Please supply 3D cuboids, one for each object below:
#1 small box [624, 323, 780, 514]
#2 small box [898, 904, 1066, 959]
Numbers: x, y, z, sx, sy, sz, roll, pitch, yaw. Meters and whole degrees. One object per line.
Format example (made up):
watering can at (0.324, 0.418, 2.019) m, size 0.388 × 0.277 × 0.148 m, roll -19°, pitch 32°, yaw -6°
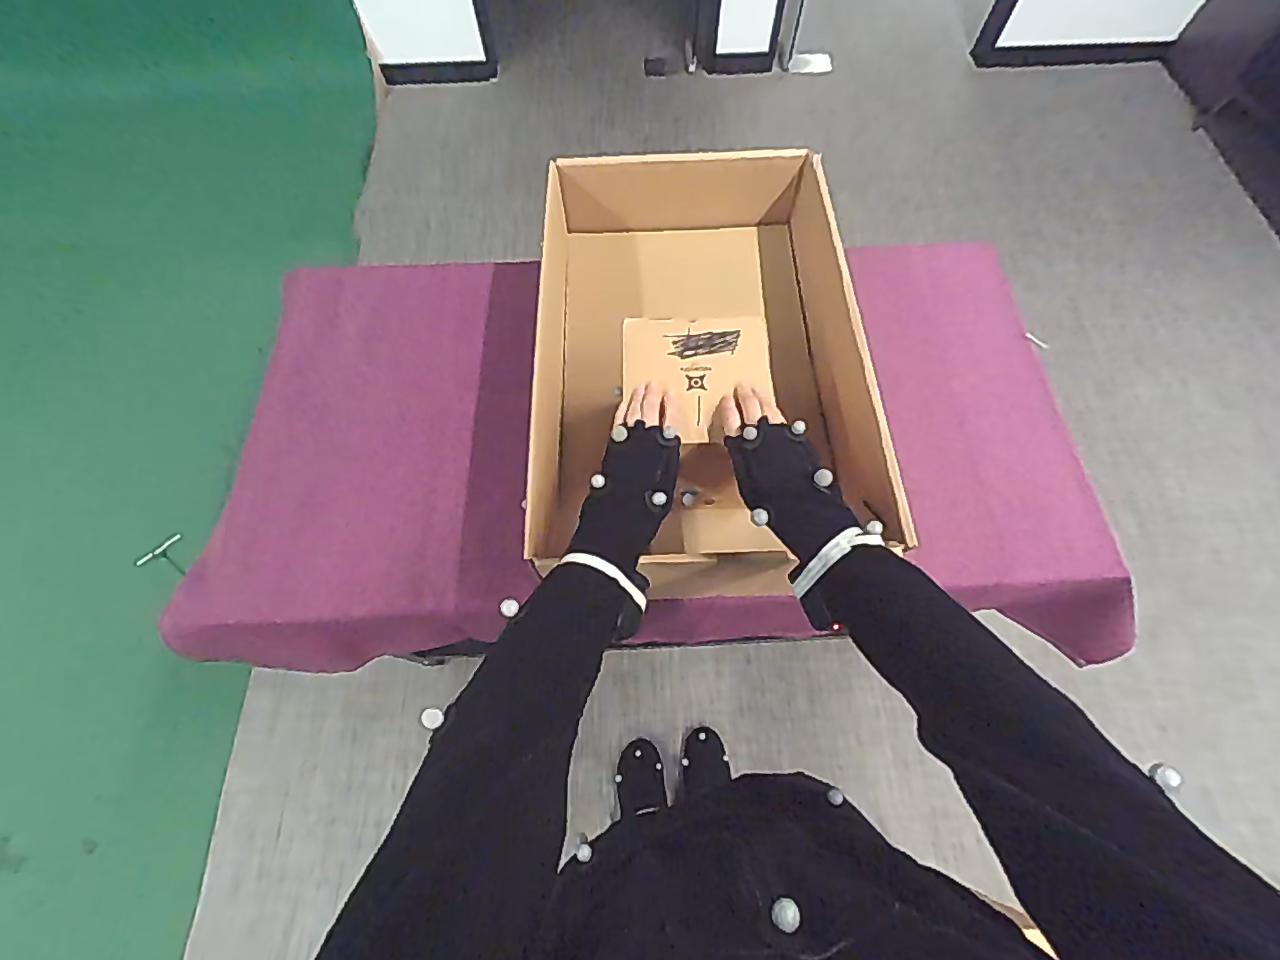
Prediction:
small box at (0.064, -0.071, 0.669) m, size 0.168 × 0.176 × 0.179 m, roll -1°, pitch 63°, yaw 0°
small box at (0.504, 0.742, 0.789) m, size 0.168 × 0.176 × 0.179 m, roll -1°, pitch 64°, yaw 0°
